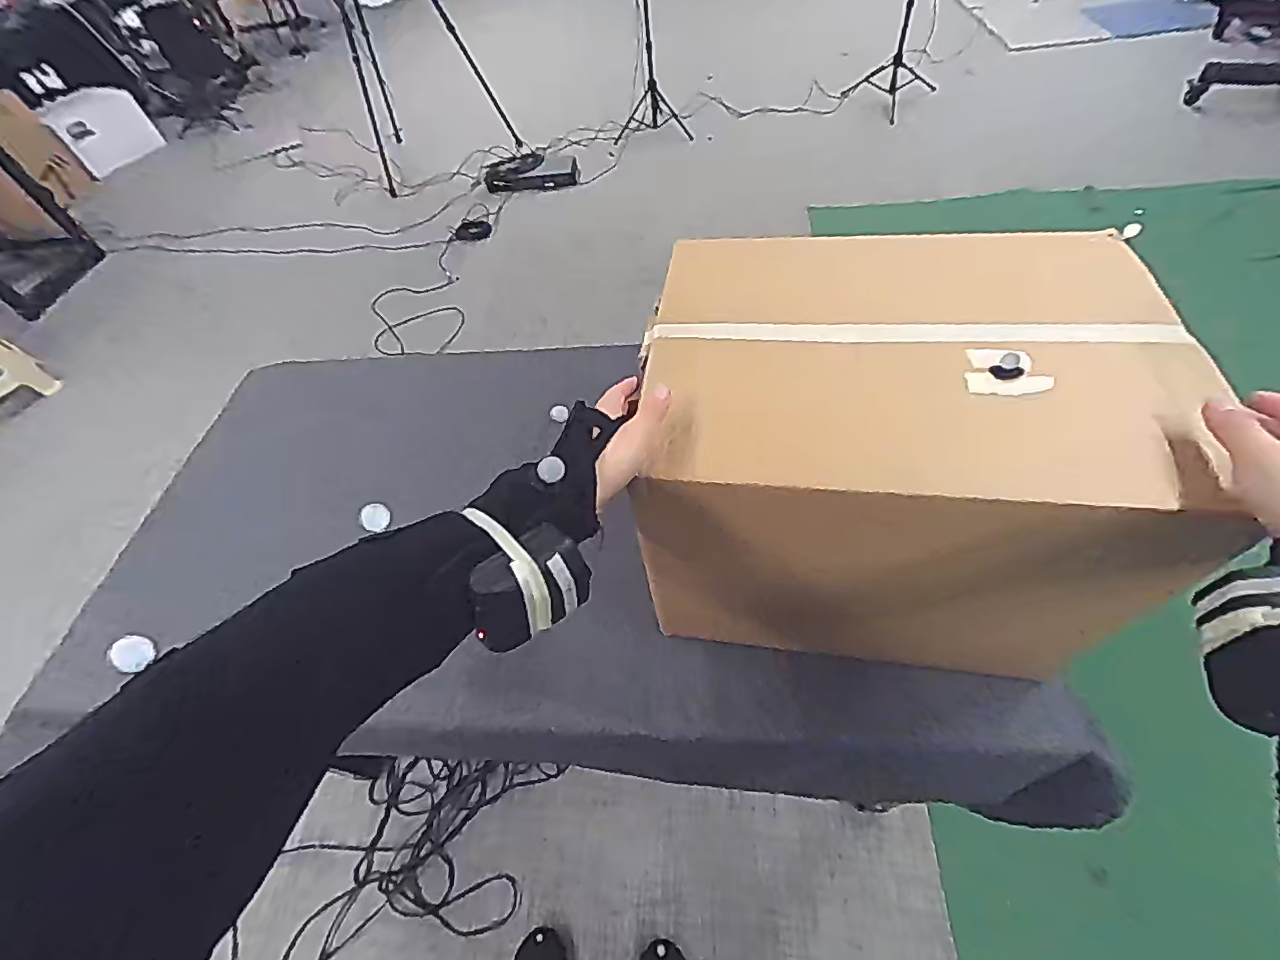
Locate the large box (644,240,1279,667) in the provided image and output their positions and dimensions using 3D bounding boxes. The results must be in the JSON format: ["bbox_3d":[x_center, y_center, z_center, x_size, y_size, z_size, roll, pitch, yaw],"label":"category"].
[{"bbox_3d":[0.230,-0.024,0.563,0.408,0.320,0.320,4,54,10],"label":"large box"}]
